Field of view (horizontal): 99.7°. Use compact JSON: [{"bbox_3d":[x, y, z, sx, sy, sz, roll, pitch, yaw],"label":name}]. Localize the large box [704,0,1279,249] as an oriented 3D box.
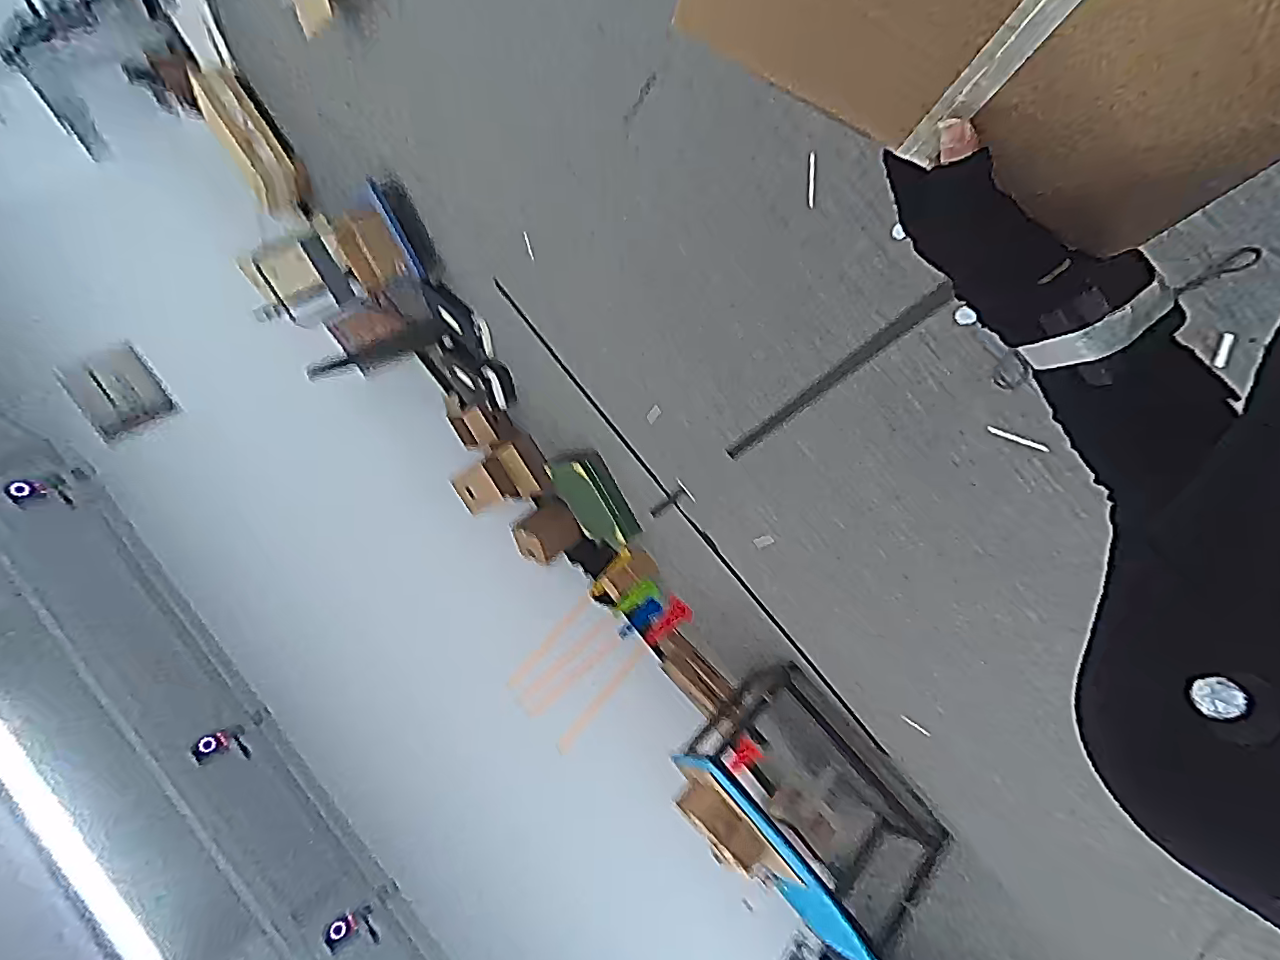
[{"bbox_3d":[0.266,-0.395,0.208,0.320,0.320,0.408,21,158,-11],"label":"large box"}]
